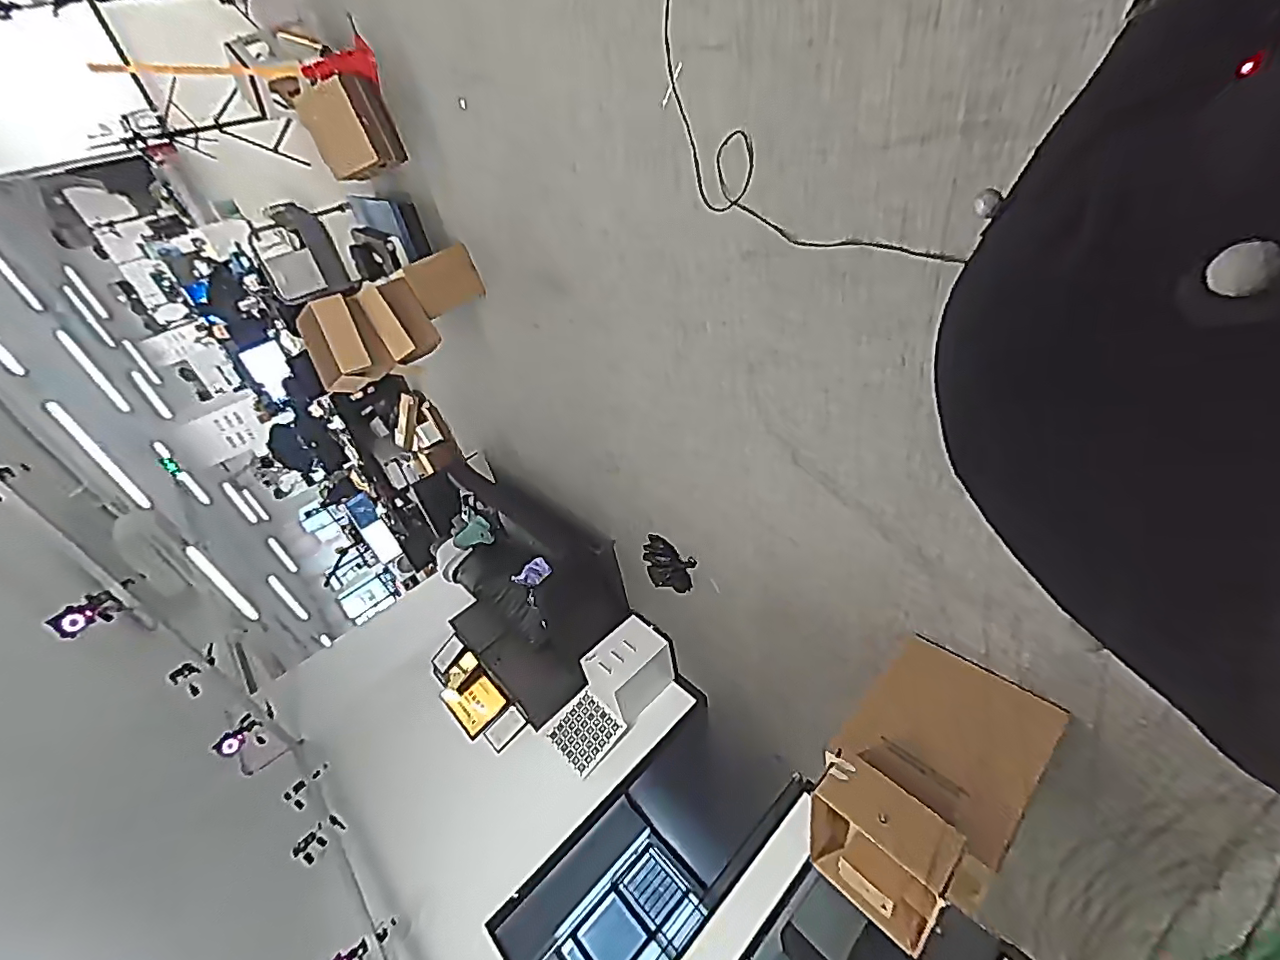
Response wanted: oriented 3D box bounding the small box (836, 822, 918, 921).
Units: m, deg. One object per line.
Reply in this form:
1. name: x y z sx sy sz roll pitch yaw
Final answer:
1. small box: 0.742 1.220 1.702 0.179 0.176 0.168 28 144 43
